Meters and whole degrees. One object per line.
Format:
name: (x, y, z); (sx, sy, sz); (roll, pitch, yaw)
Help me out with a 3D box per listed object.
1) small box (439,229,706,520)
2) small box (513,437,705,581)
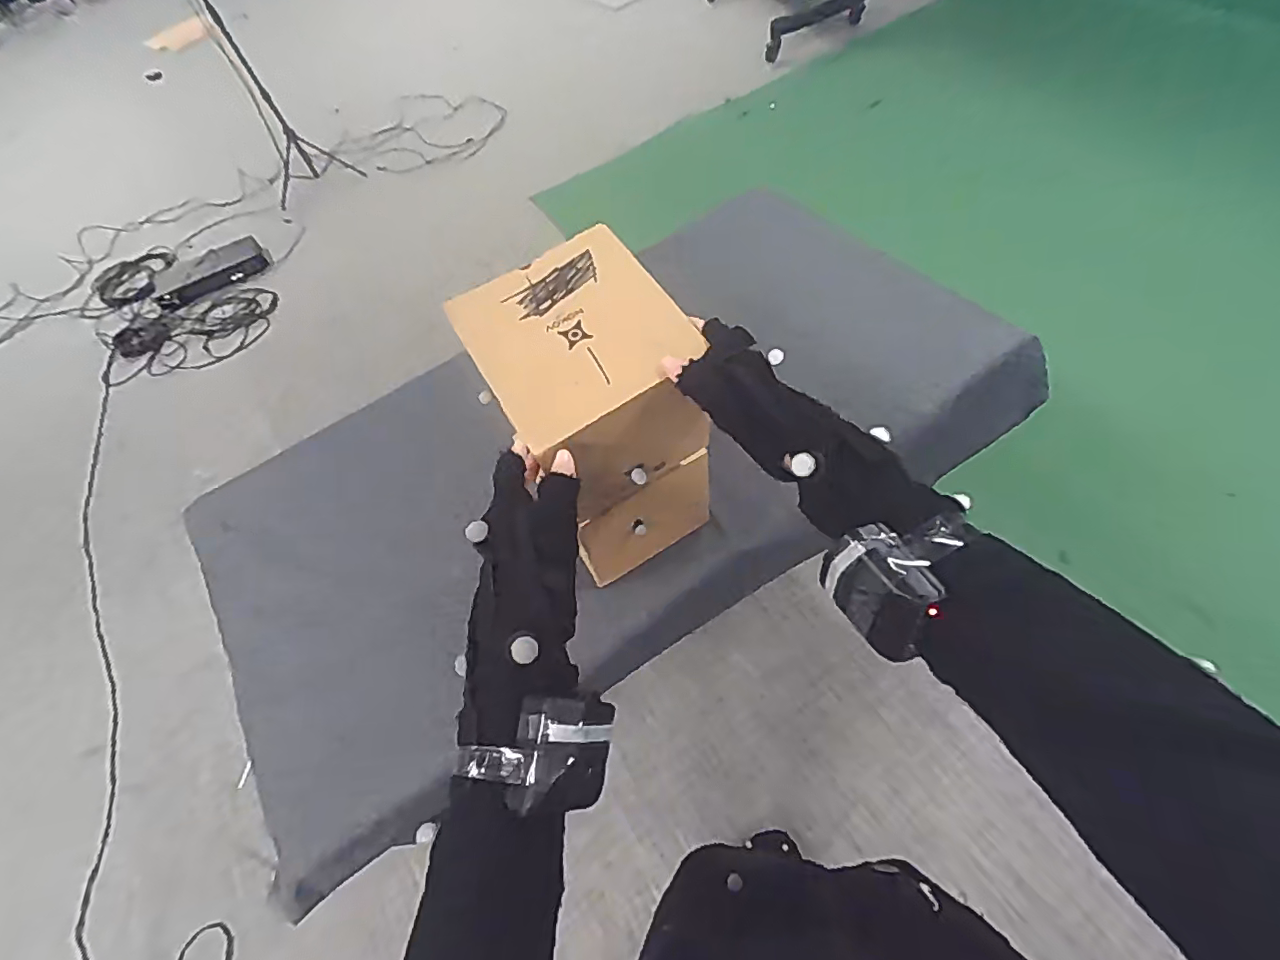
small box: (-0.053, -0.091, 0.518); (0.168, 0.176, 0.179); (-35, 66, -9)
small box: (-0.031, 0.002, 0.695); (0.179, 0.176, 0.168); (-31, 59, -10)
